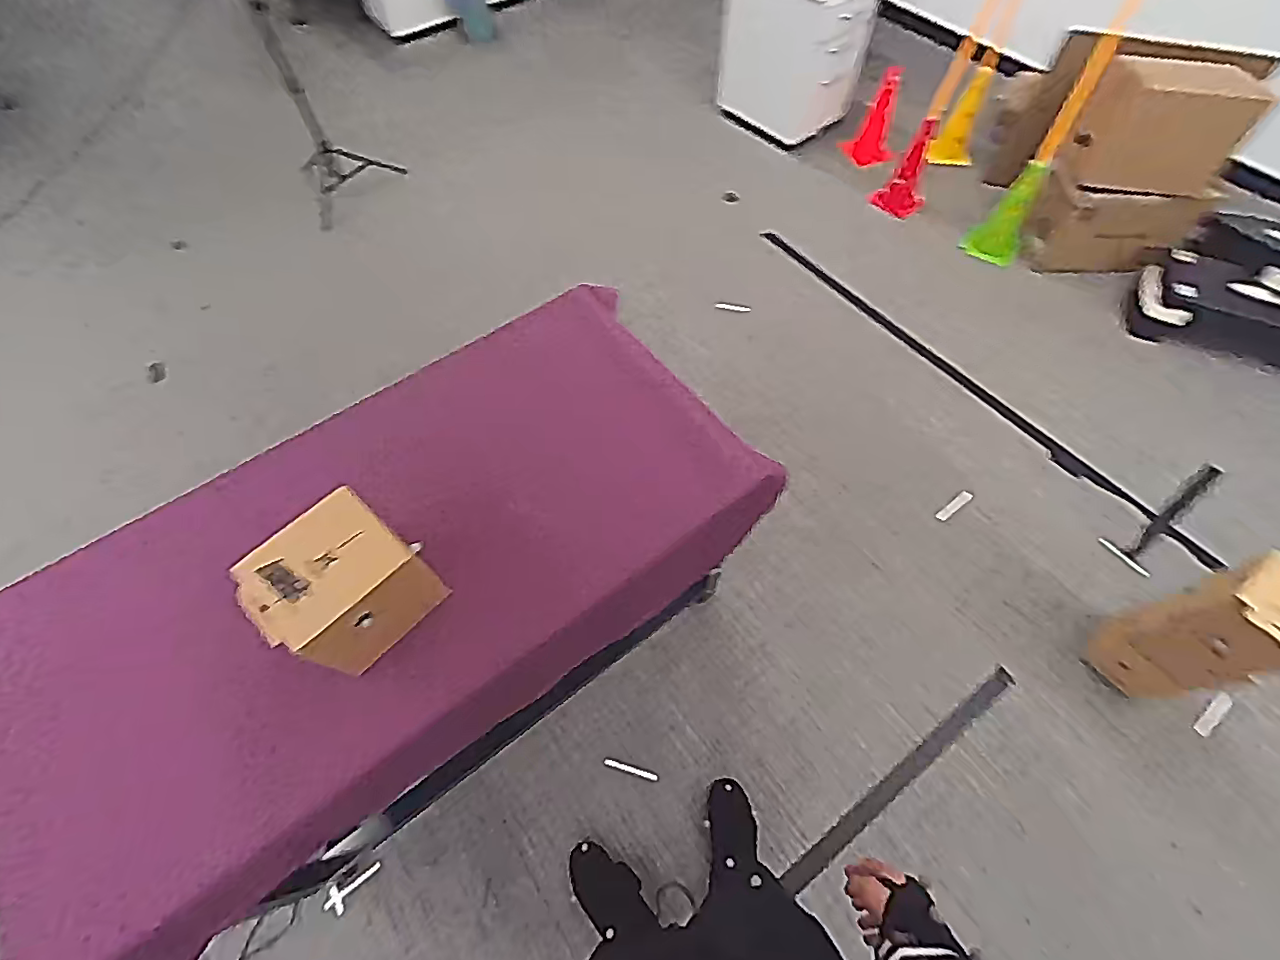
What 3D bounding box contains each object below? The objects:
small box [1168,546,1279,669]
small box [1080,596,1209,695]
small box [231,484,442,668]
[{"bbox_3d":[1.301,0.274,1.148,0.179,0.176,0.168,-32,66,-15],"label":"small box"},{"bbox_3d":[1.326,0.443,1.432,0.179,0.176,0.168,-37,67,-18],"label":"small box"},{"bbox_3d":[-0.425,0.146,0.786,0.168,0.176,0.179,39,68,19],"label":"small box"}]
